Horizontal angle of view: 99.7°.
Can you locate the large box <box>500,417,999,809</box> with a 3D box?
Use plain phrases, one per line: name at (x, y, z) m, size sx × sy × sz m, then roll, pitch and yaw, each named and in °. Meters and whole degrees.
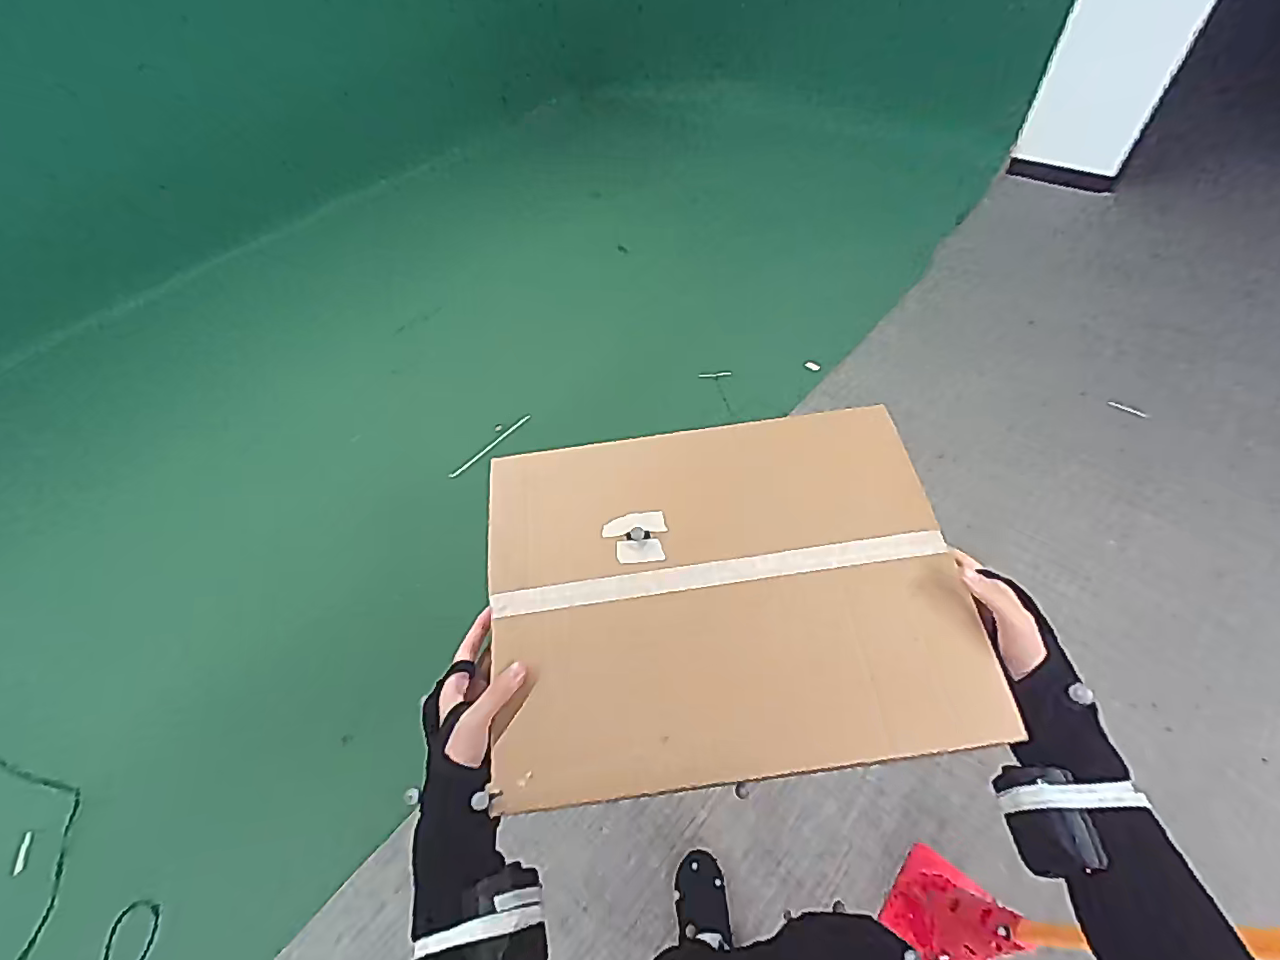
large box at (0.082, 0.164, 0.622) m, size 0.408 × 0.320 × 0.320 m, roll -8°, pitch 61°, yaw 1°
